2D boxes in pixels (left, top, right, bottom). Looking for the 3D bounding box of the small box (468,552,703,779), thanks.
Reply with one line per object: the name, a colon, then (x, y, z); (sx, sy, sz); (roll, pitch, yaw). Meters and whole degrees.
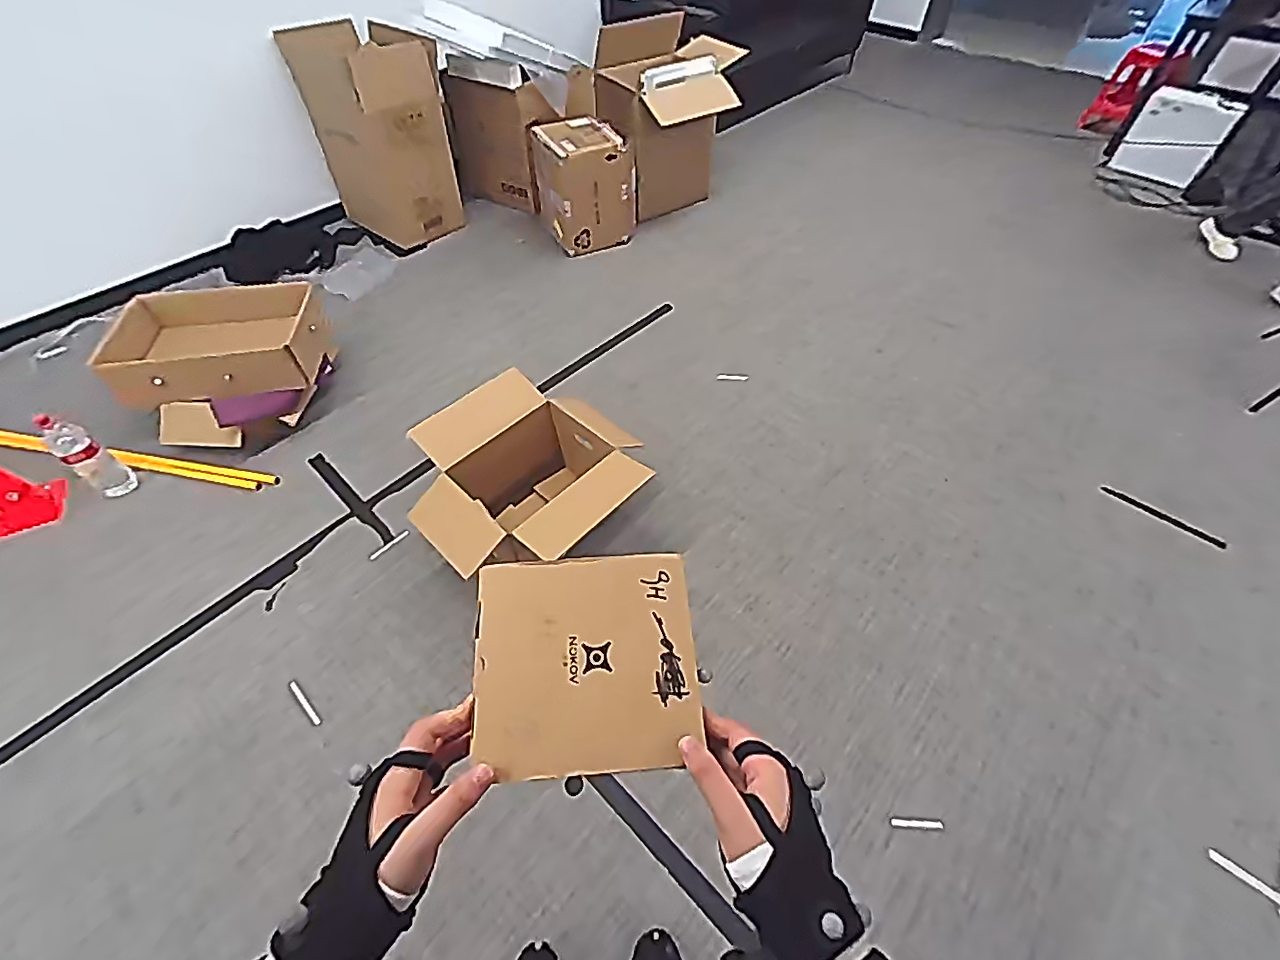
small box: (-0.046, 0.178, 0.501); (0.179, 0.176, 0.168); (-4, 62, -4)
